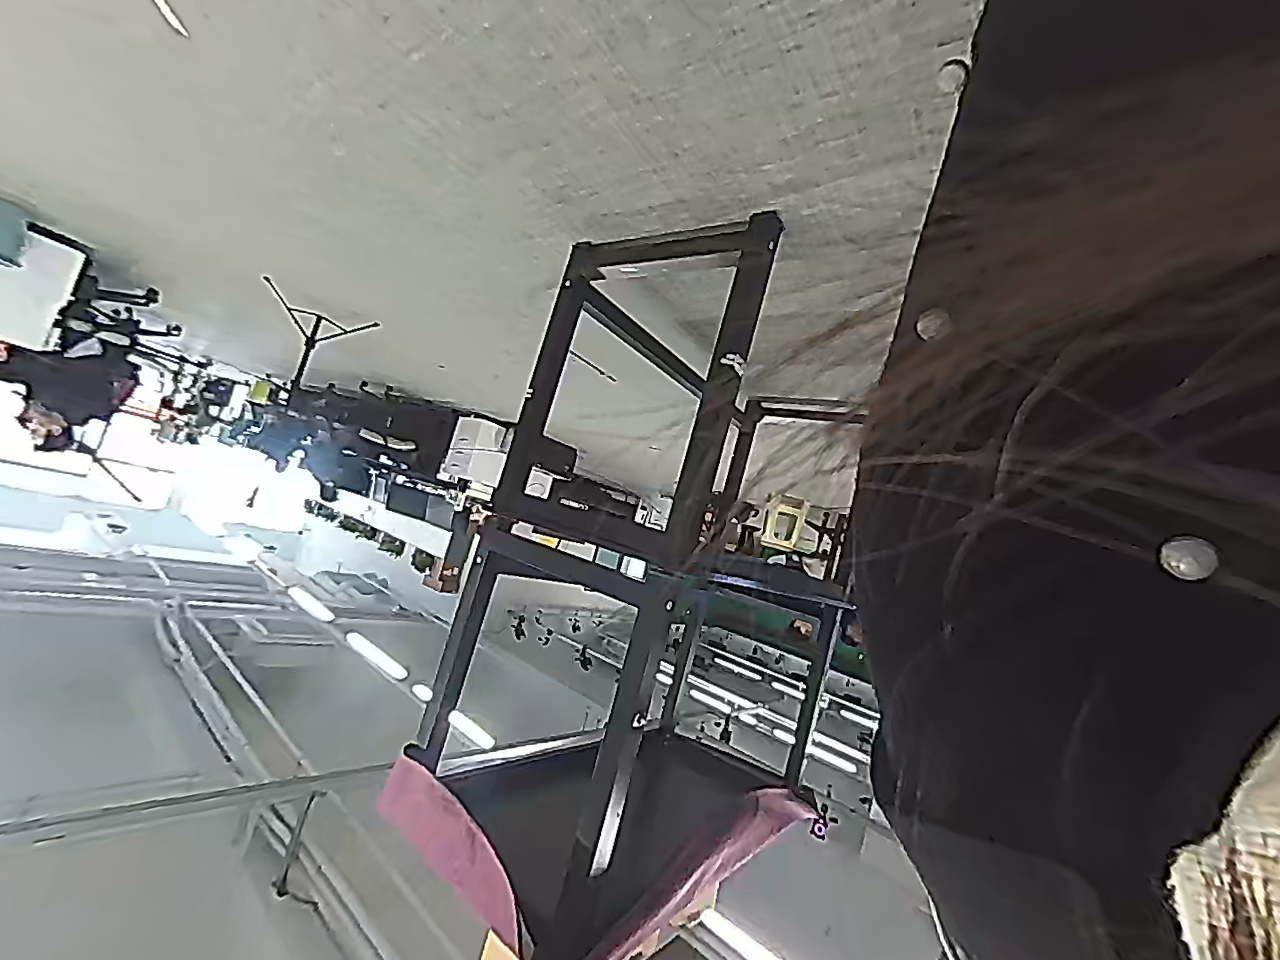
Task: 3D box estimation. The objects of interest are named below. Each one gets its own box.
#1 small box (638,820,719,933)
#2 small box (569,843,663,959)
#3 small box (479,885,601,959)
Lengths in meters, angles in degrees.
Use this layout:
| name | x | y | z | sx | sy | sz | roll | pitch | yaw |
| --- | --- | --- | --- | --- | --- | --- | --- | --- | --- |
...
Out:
| name | x | y | z | sx | sy | sz | roll | pitch | yaw |
| --- | --- | --- | --- | --- | --- | --- | --- | --- | --- |
| small box | 0.099 | 1.081 | 1.491 | 0.168 | 0.176 | 0.179 | 21 | 172 | -42 |
| small box | -0.062 | 1.012 | 1.285 | 0.179 | 0.176 | 0.168 | 11 | 172 | 42 |
| small box | -0.202 | 0.954 | 1.068 | 0.179 | 0.176 | 0.168 | 11 | 174 | 44 |
